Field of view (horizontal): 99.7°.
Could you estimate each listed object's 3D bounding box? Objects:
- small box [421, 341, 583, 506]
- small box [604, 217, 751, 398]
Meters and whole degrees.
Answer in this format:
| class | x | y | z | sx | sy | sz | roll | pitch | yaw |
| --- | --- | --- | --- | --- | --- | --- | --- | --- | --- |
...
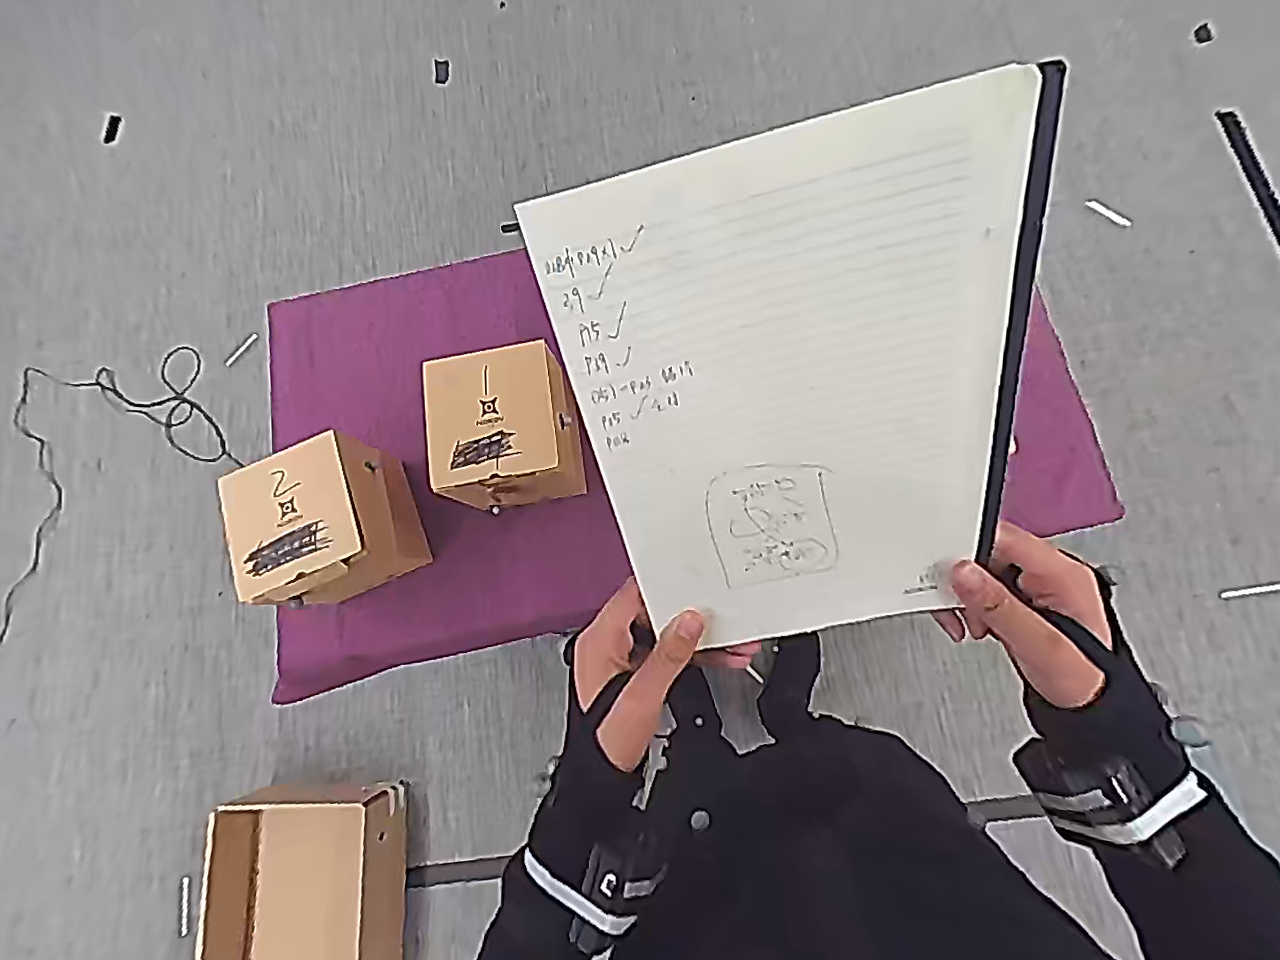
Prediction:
| class | x | y | z | sx | sy | sz | roll | pitch | yaw |
| --- | --- | --- | --- | --- | --- | --- | --- | --- | --- |
| small box | -0.181 | -0.065 | 0.749 | 0.168 | 0.176 | 0.179 | -10 | 77 | 4 |
| small box | 0.053 | -0.225 | 0.758 | 0.168 | 0.176 | 0.179 | -10 | 77 | 3 |
